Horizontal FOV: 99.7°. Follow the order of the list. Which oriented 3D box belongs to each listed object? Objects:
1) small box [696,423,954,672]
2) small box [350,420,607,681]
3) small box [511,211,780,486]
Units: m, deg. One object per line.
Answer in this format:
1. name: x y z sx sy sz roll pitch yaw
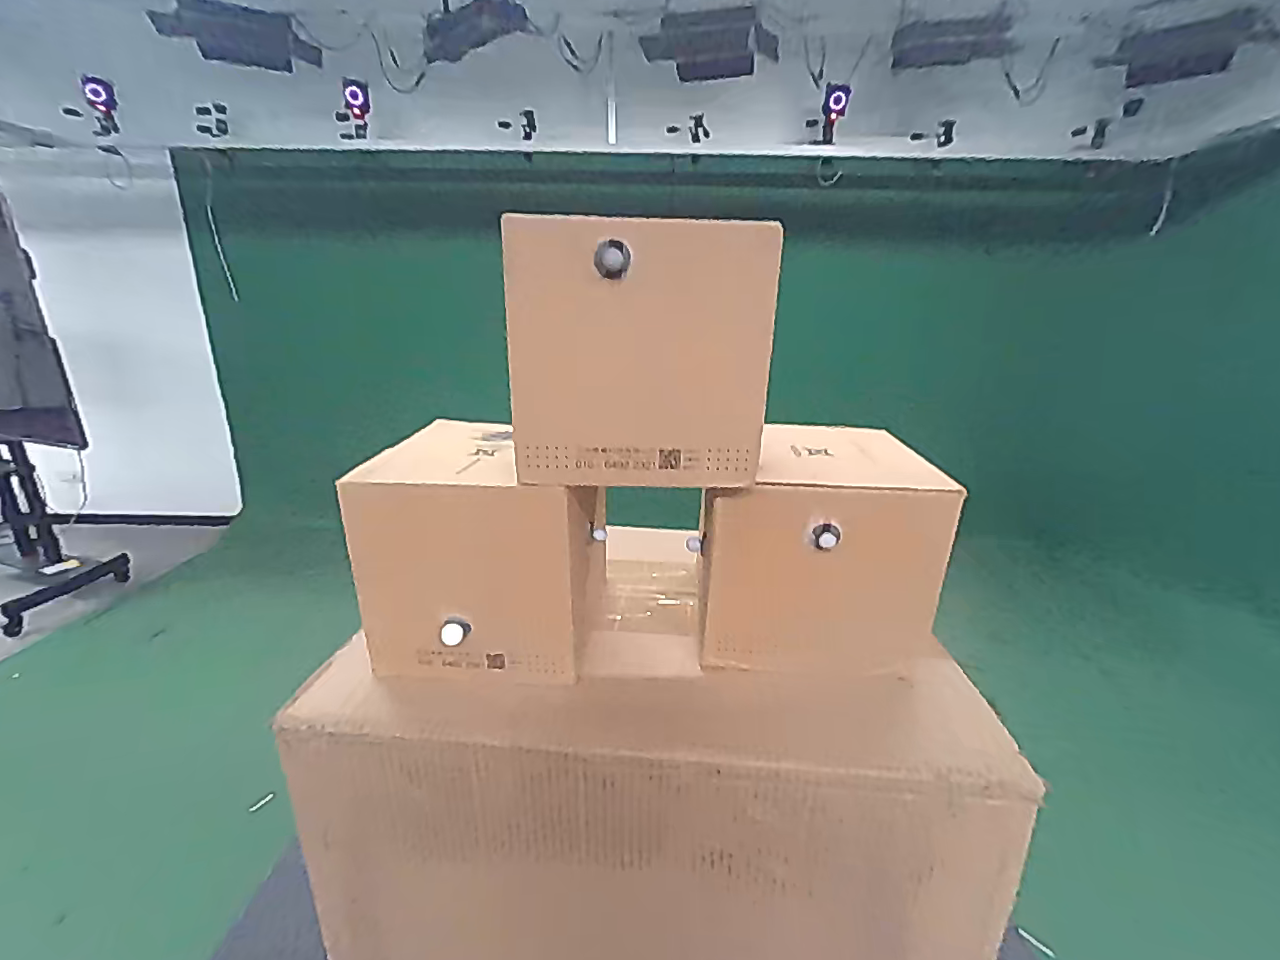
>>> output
1. small box: 0.142 0.051 0.489 0.179 0.176 0.168 4 20 3
2. small box: -0.122 0.049 0.482 0.168 0.176 0.179 2 20 5
3. small box: -0.001 -0.103 0.426 0.168 0.176 0.179 2 19 -1
